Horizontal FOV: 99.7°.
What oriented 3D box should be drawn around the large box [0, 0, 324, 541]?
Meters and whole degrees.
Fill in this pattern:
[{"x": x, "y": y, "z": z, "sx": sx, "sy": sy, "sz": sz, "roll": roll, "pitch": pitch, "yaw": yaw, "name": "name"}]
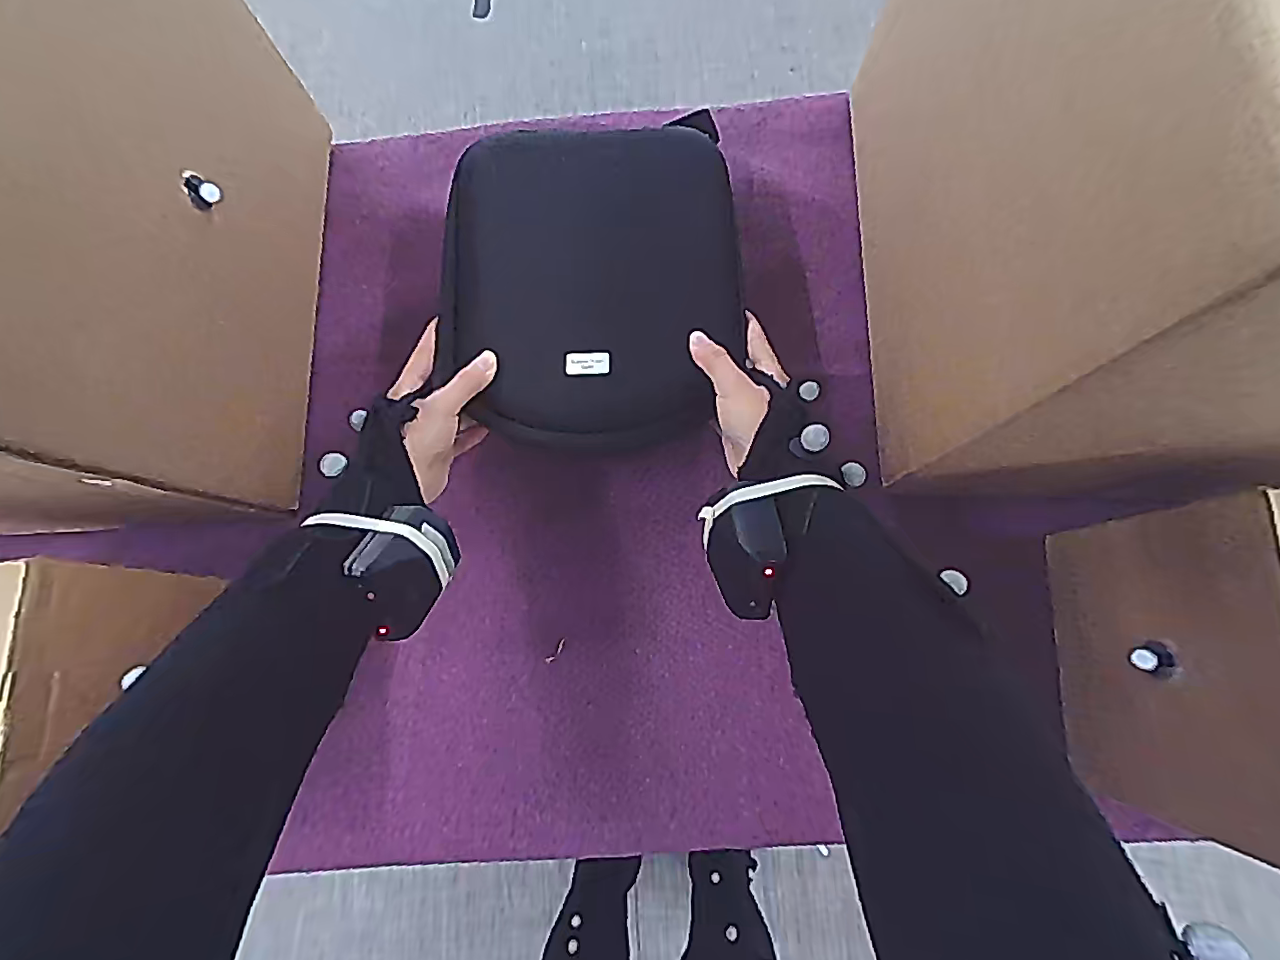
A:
[{"x": -0.463, "y": -0.178, "z": 0.378, "sx": 0.320, "sy": 0.320, "sz": 0.408, "roll": -4, "pitch": 78, "yaw": 1, "name": "large box"}]
